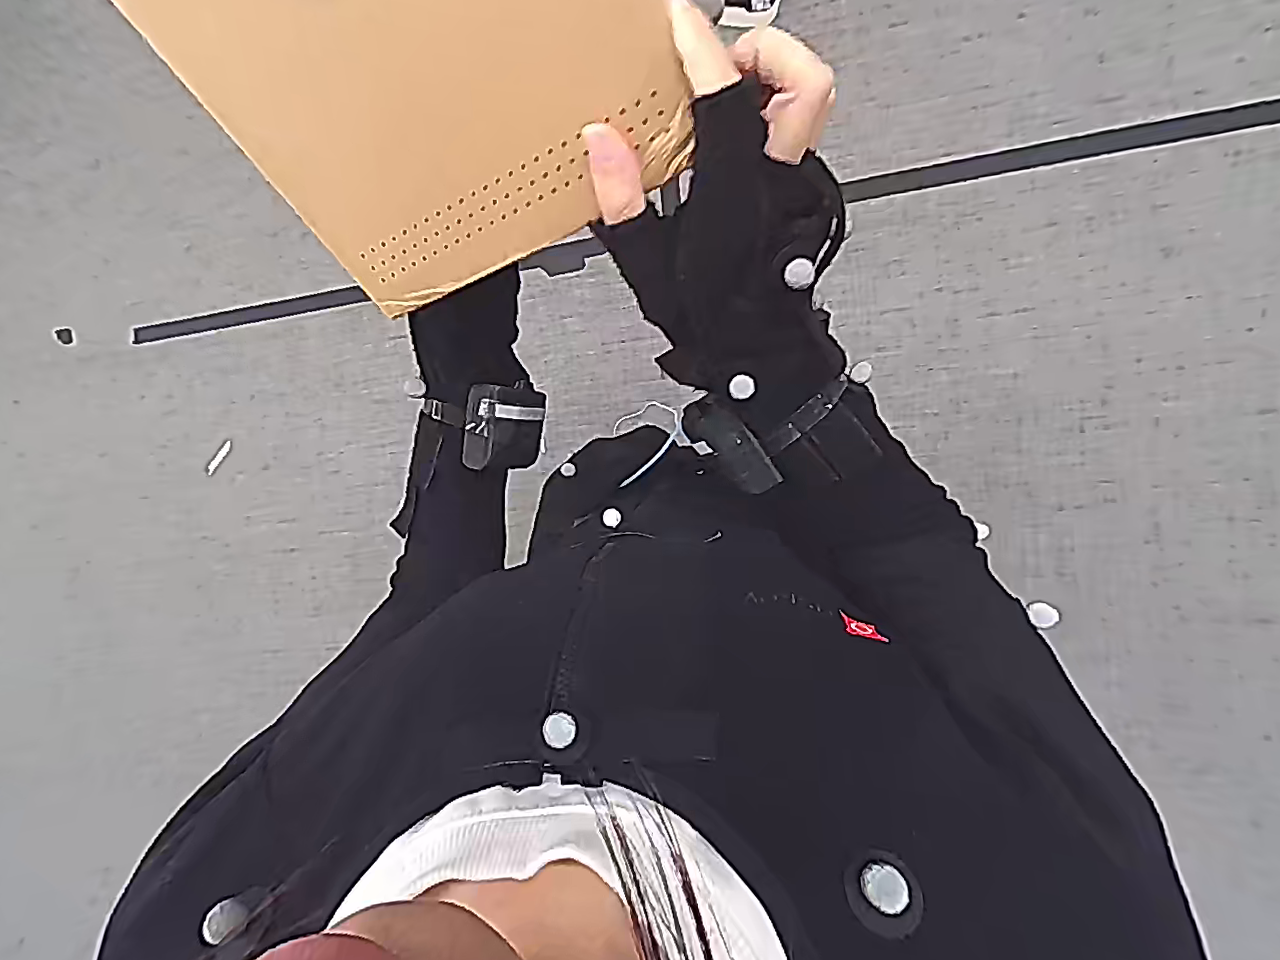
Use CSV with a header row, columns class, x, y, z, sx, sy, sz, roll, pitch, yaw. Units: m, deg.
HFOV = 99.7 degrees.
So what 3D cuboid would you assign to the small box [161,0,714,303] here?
class,x,y,z,sx,sy,sz,roll,pitch,yaw
small box,-0.076,-0.217,0.265,0.179,0.168,0.176,-15,134,22
